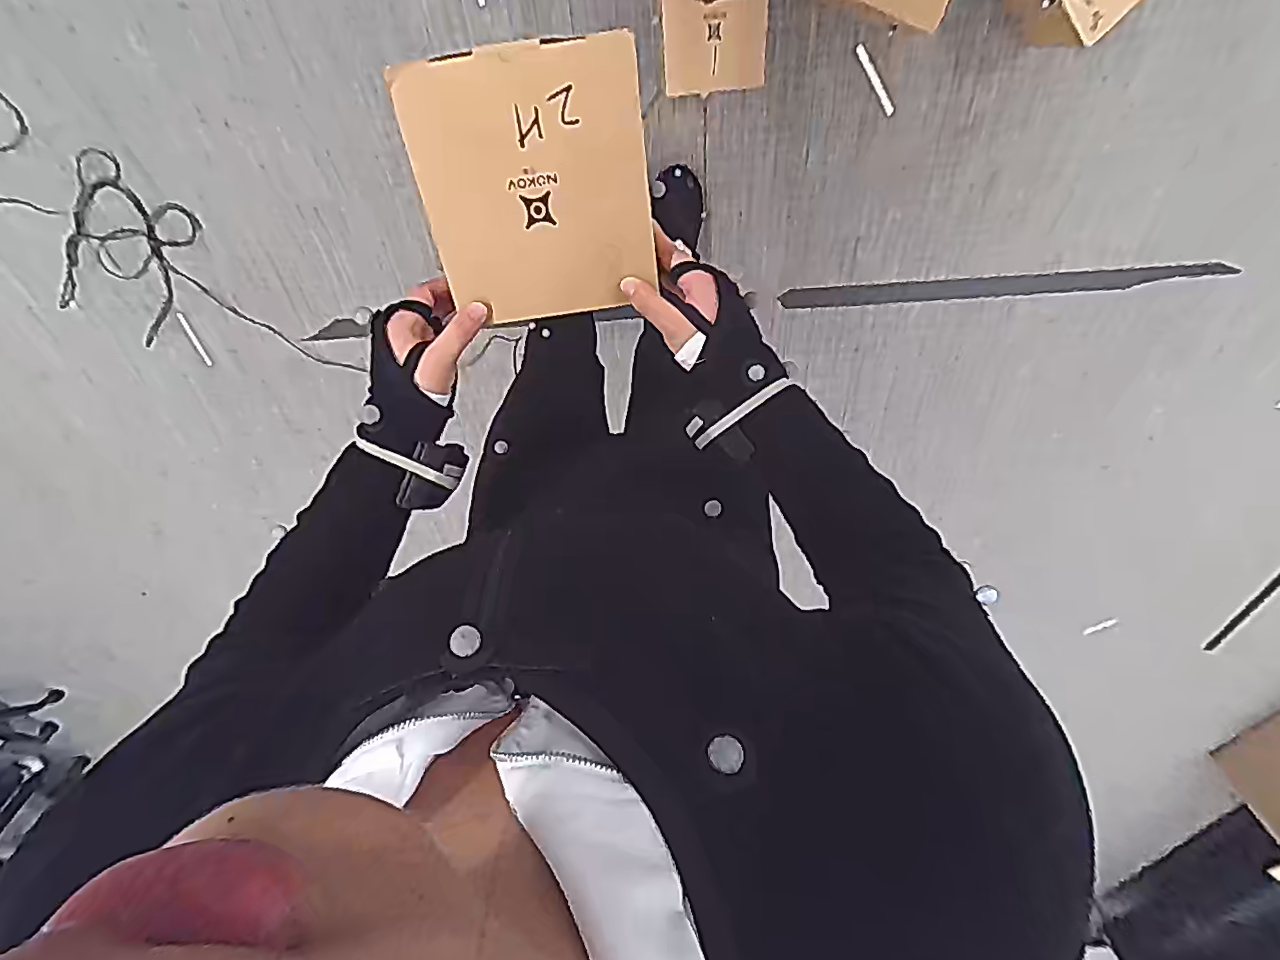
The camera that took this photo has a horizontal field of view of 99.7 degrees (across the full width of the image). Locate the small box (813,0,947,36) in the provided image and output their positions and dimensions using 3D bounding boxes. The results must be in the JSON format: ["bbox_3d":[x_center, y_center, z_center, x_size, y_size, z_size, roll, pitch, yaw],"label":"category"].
[{"bbox_3d":[0.401,-0.836,0.856,0.179,0.176,0.168,13,127,-10],"label":"small box"}]

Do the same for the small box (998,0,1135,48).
[{"bbox_3d":[0.704,-0.836,0.857,0.168,0.176,0.179,32,122,-24],"label":"small box"}]

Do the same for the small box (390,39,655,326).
[{"bbox_3d":[-0.080,-0.251,0.465,0.168,0.176,0.179,-8,123,0],"label":"small box"}]

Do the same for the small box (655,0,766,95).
[{"bbox_3d":[0.112,-0.766,0.907,0.168,0.176,0.179,-4,131,3],"label":"small box"}]
